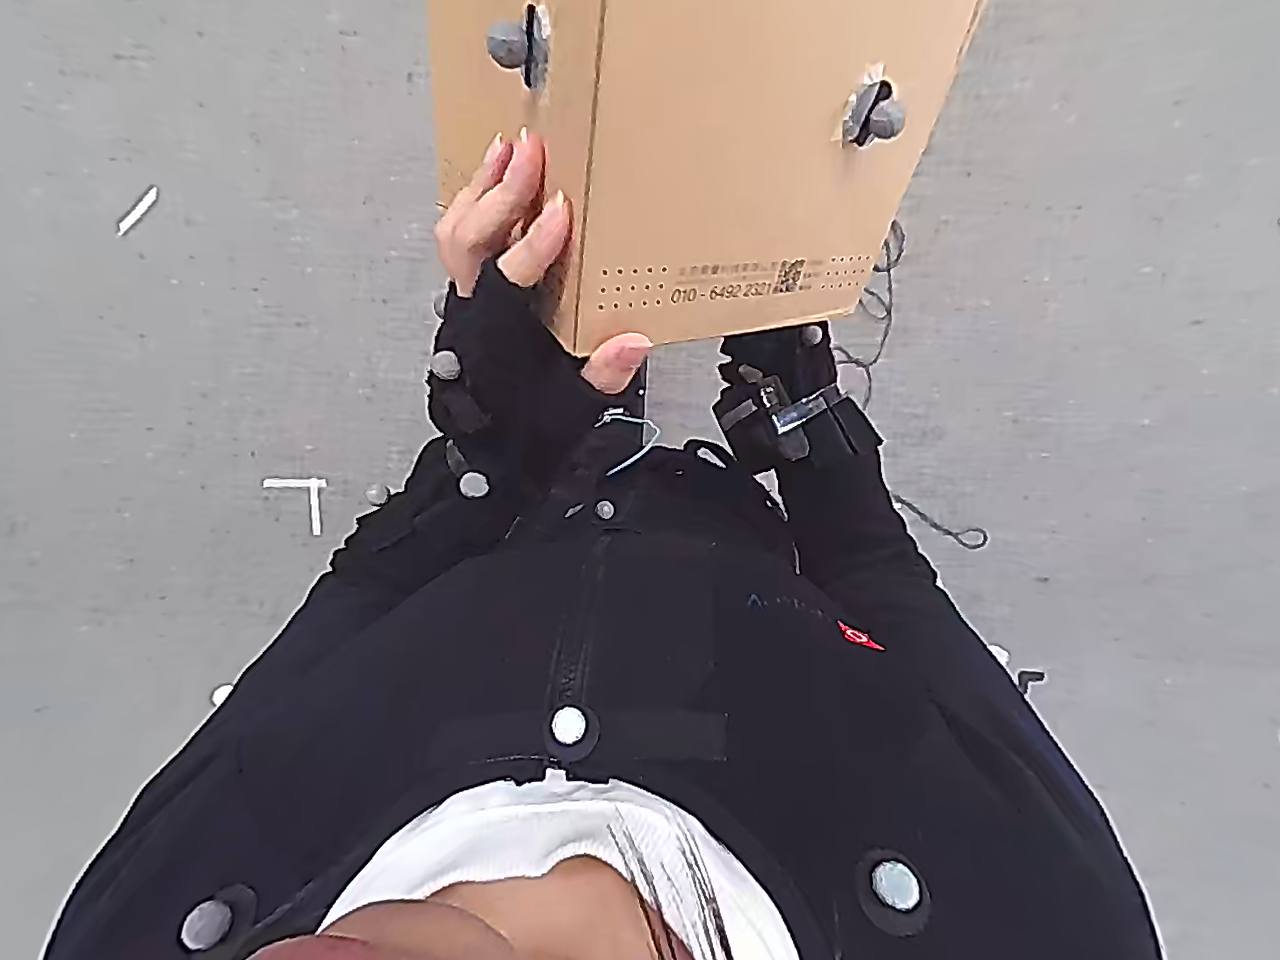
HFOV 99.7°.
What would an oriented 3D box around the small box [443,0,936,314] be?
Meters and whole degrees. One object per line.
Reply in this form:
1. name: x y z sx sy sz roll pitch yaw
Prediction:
1. small box: 0.011 -0.190 0.263 0.168 0.179 0.176 -15 136 -29
